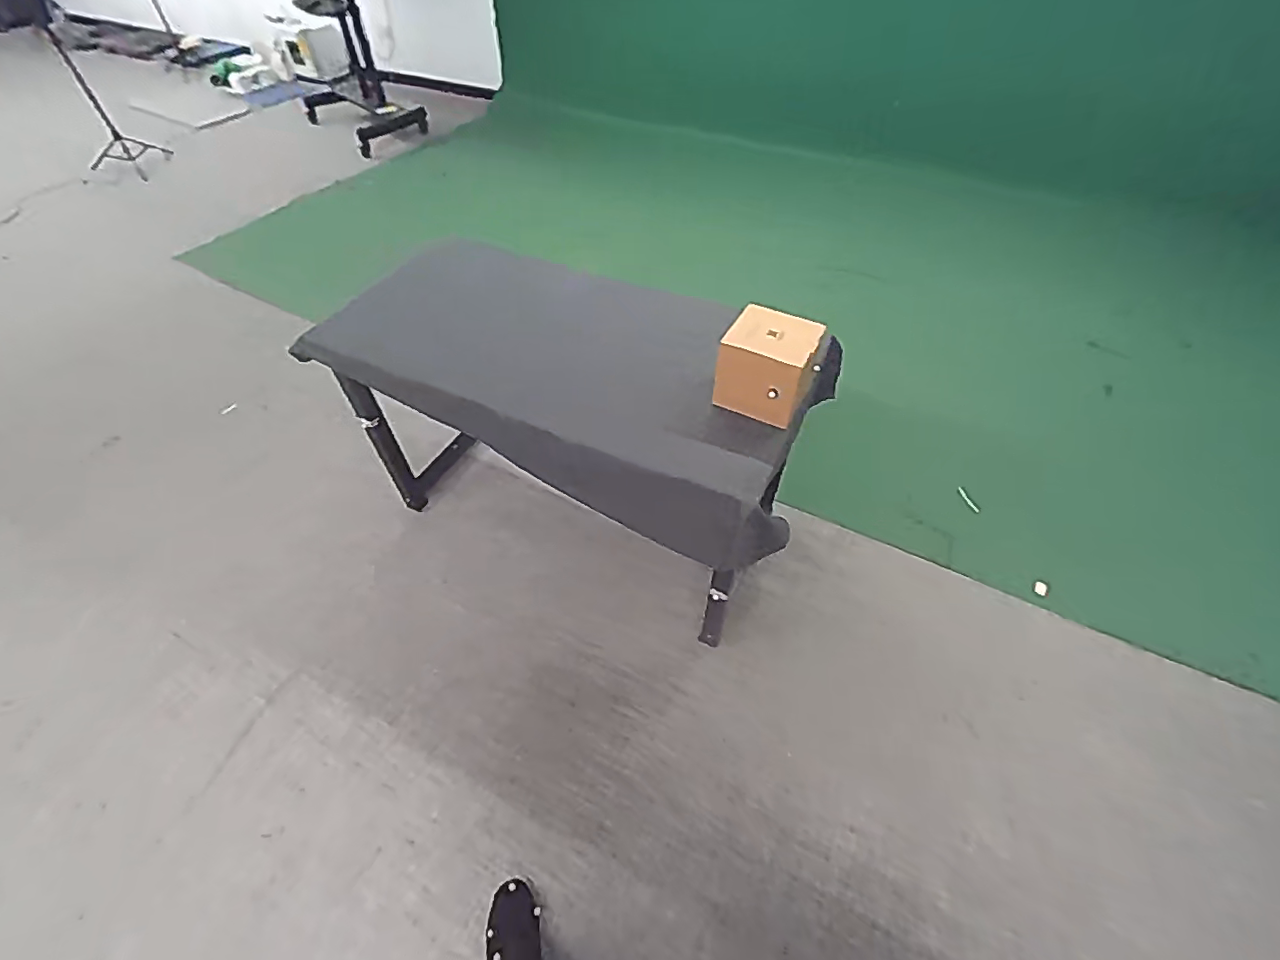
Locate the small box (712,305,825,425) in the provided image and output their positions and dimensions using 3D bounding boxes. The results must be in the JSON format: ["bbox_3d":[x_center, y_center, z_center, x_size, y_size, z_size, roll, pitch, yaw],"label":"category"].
[{"bbox_3d":[0.271,-0.244,1.162,0.179,0.176,0.168,22,53,19],"label":"small box"}]
